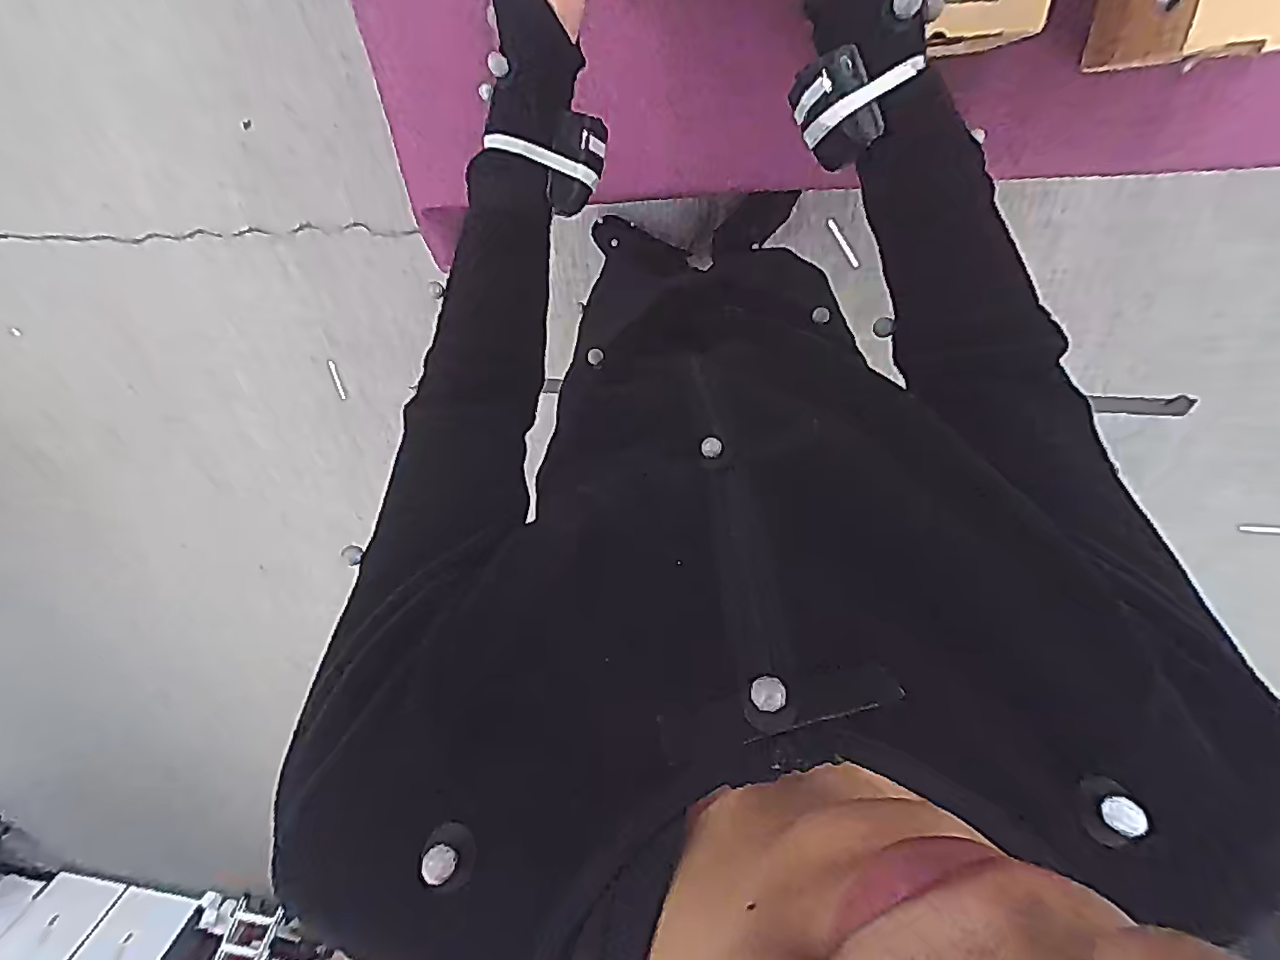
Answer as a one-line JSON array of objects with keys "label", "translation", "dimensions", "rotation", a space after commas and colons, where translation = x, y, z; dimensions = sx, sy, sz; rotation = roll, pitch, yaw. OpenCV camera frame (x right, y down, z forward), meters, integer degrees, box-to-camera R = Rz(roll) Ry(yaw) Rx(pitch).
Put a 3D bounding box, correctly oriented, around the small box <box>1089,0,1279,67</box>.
[{"label": "small box", "translation": [0.529, -0.469, 0.451], "dimensions": [0.168, 0.176, 0.179], "rotation": [1, 123, 11]}]
